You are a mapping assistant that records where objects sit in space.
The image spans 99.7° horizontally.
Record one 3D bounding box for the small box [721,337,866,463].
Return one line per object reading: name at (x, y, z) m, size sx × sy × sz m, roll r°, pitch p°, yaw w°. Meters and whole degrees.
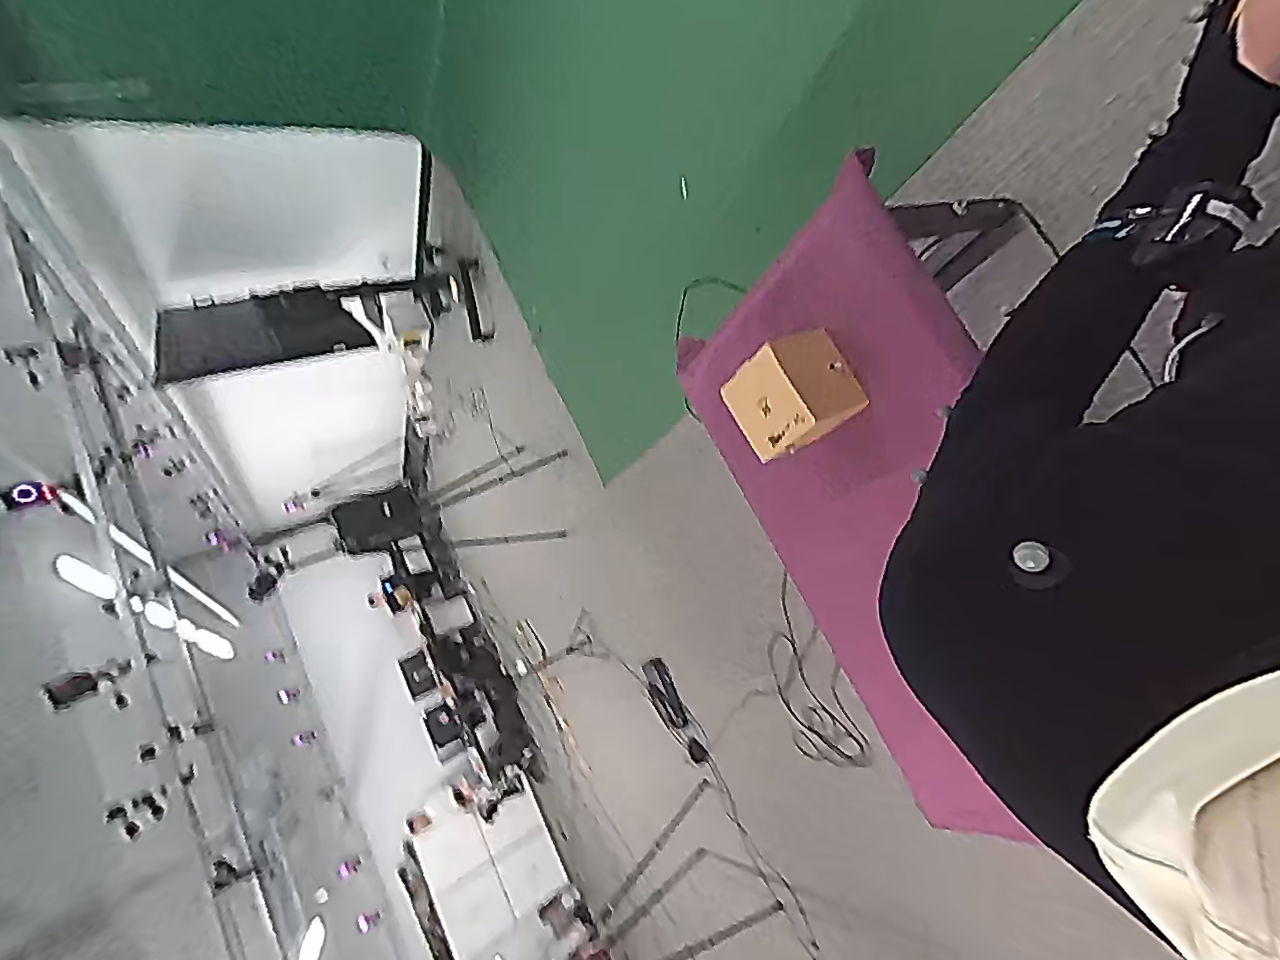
small box at (0.298, -0.161, 1.058) m, size 0.179 × 0.176 × 0.168 m, roll 62°, pitch 148°, yaw 11°
